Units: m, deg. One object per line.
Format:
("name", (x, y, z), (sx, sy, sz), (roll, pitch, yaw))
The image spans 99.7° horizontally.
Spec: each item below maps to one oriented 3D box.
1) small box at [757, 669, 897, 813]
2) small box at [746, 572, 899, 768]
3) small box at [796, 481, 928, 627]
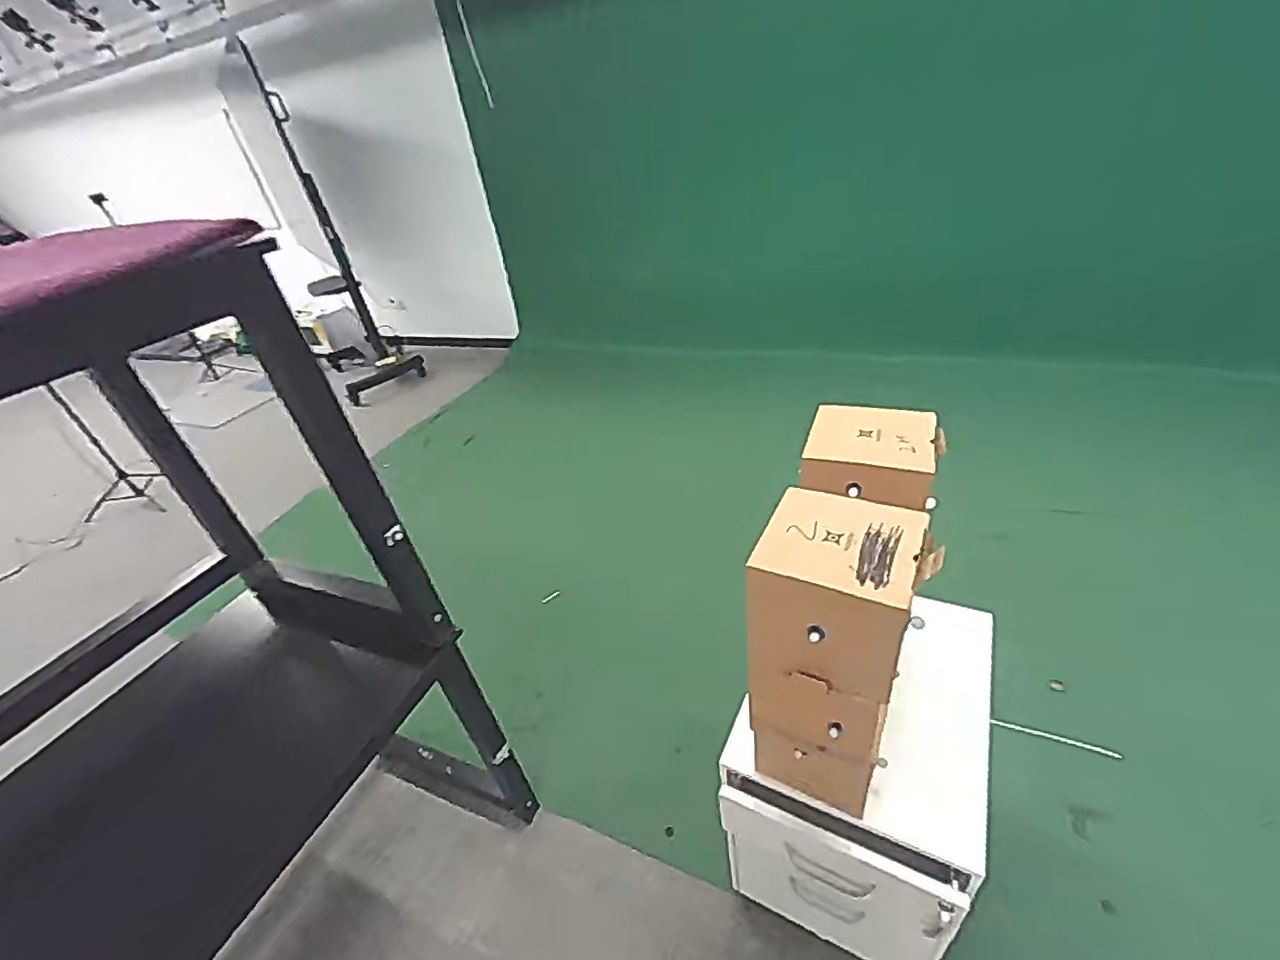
("small box", (0.294, 0.390, 0.867), (0.179, 0.176, 0.168), (13, 40, 29))
("small box", (0.258, 0.266, 0.767), (0.168, 0.176, 0.179), (11, 38, 26))
("small box", (0.378, 0.128, 0.939), (0.179, 0.176, 0.168), (14, 41, 29))
